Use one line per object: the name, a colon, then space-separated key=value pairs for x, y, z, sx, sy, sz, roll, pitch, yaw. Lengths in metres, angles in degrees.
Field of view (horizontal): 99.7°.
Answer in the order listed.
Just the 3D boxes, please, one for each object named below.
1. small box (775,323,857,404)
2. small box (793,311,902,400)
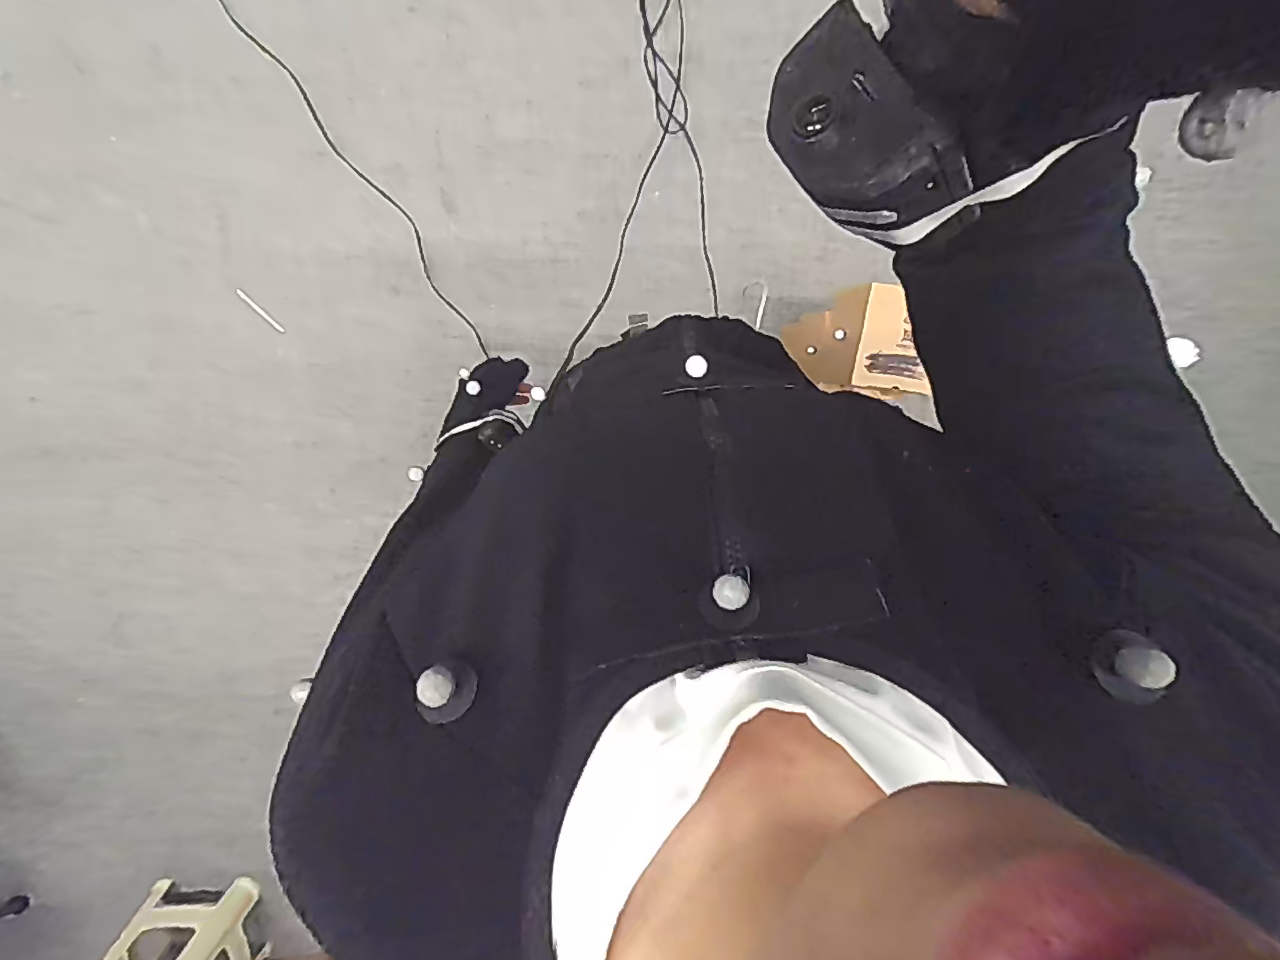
small box: x=0.443 y=-0.293 z=1.346 sx=0.168 sy=0.176 sz=0.179 roll=4 pitch=104 yaw=-3
small box: x=0.444 y=-0.271 z=1.182 sx=0.168 sy=0.176 sz=0.179 roll=1 pitch=105 yaw=-1
